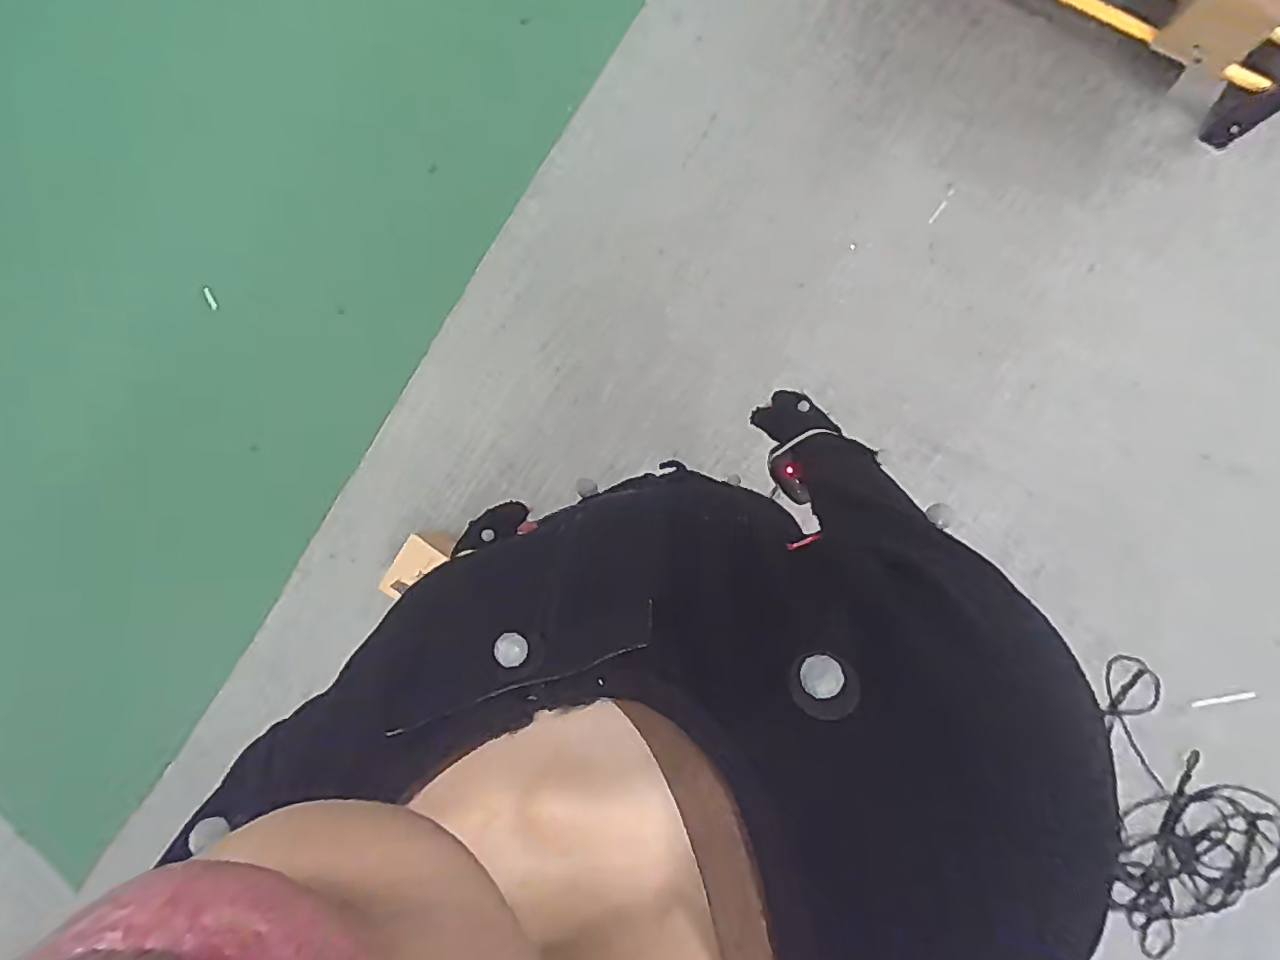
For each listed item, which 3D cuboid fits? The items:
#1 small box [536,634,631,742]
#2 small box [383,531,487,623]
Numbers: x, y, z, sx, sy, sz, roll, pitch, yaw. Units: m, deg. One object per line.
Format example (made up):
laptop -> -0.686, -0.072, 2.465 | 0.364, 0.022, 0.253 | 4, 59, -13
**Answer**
small box -> -0.138, 0.531, 1.409 | 0.168, 0.176, 0.179 | 34, 93, 7
small box -> -0.545, 0.255, 1.467 | 0.168, 0.176, 0.179 | 33, 92, 7
